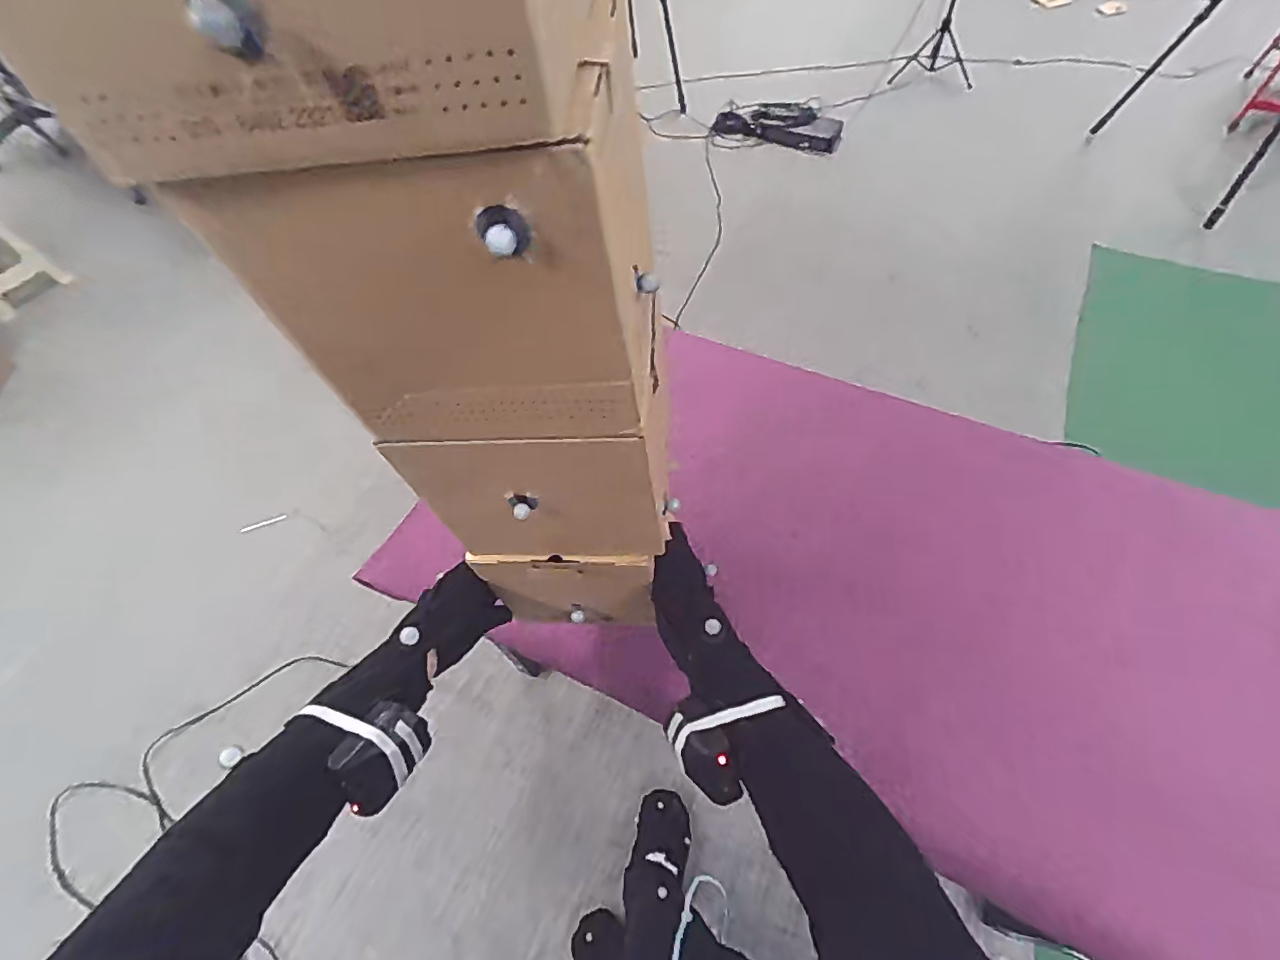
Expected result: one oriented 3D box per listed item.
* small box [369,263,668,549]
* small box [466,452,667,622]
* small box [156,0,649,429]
[{"bbox_3d":[-0.072,-0.054,0.444,0.179,0.176,0.168,2,55,9],"label":"small box"},{"bbox_3d":[-0.061,0.039,0.583,0.168,0.176,0.179,0,58,8],"label":"small box"},{"bbox_3d":[-0.093,-0.142,0.312,0.179,0.176,0.168,-1,57,7],"label":"small box"}]
